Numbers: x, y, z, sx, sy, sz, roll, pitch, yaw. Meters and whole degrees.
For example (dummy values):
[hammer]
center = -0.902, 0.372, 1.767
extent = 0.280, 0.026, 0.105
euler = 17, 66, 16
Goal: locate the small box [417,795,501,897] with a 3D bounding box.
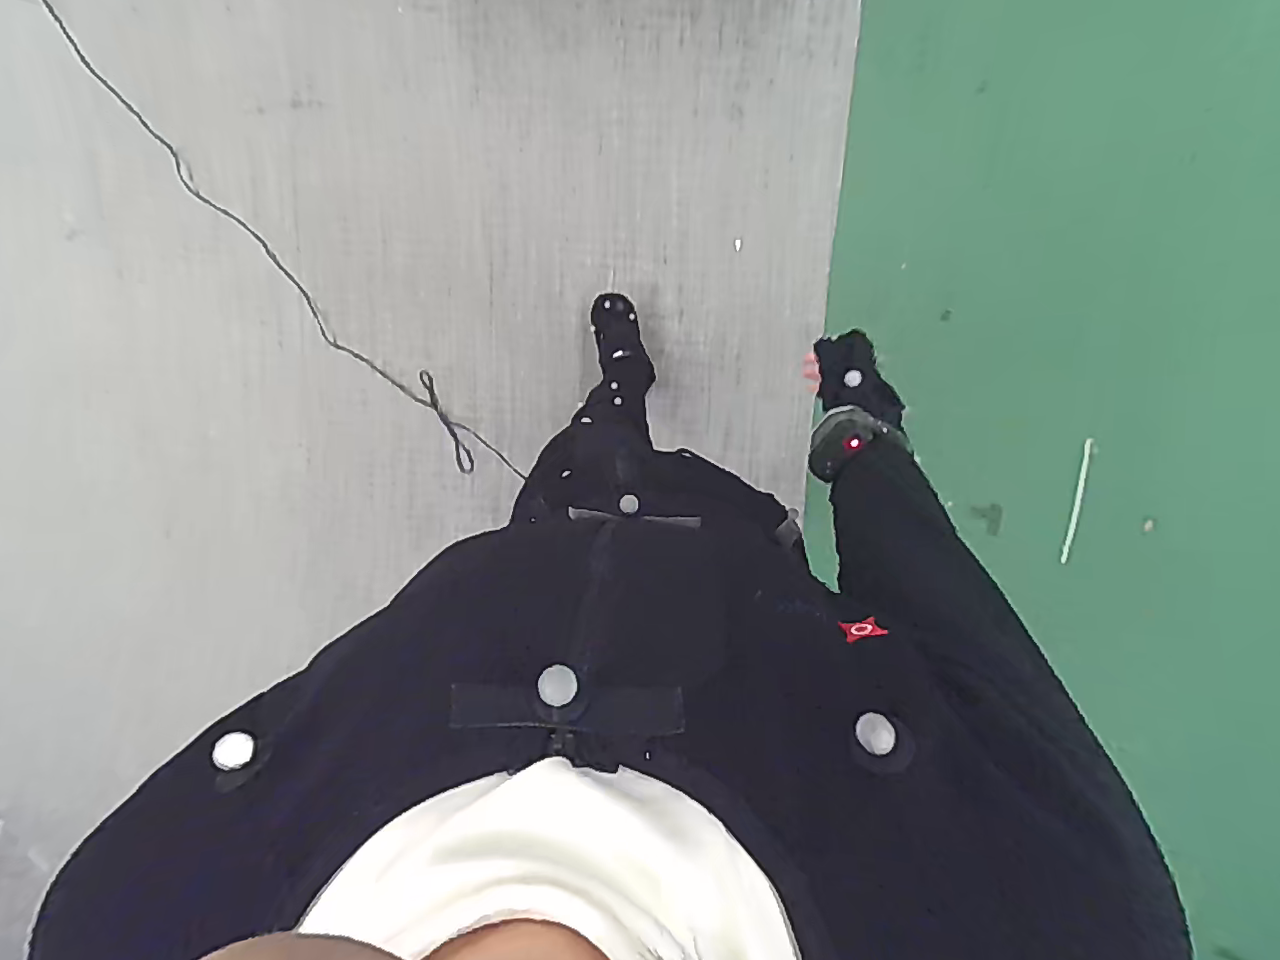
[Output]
[small box]
center = -0.493, 1.011, 1.505
extent = 0.179, 0.176, 0.168
euler = 1, 101, 4
